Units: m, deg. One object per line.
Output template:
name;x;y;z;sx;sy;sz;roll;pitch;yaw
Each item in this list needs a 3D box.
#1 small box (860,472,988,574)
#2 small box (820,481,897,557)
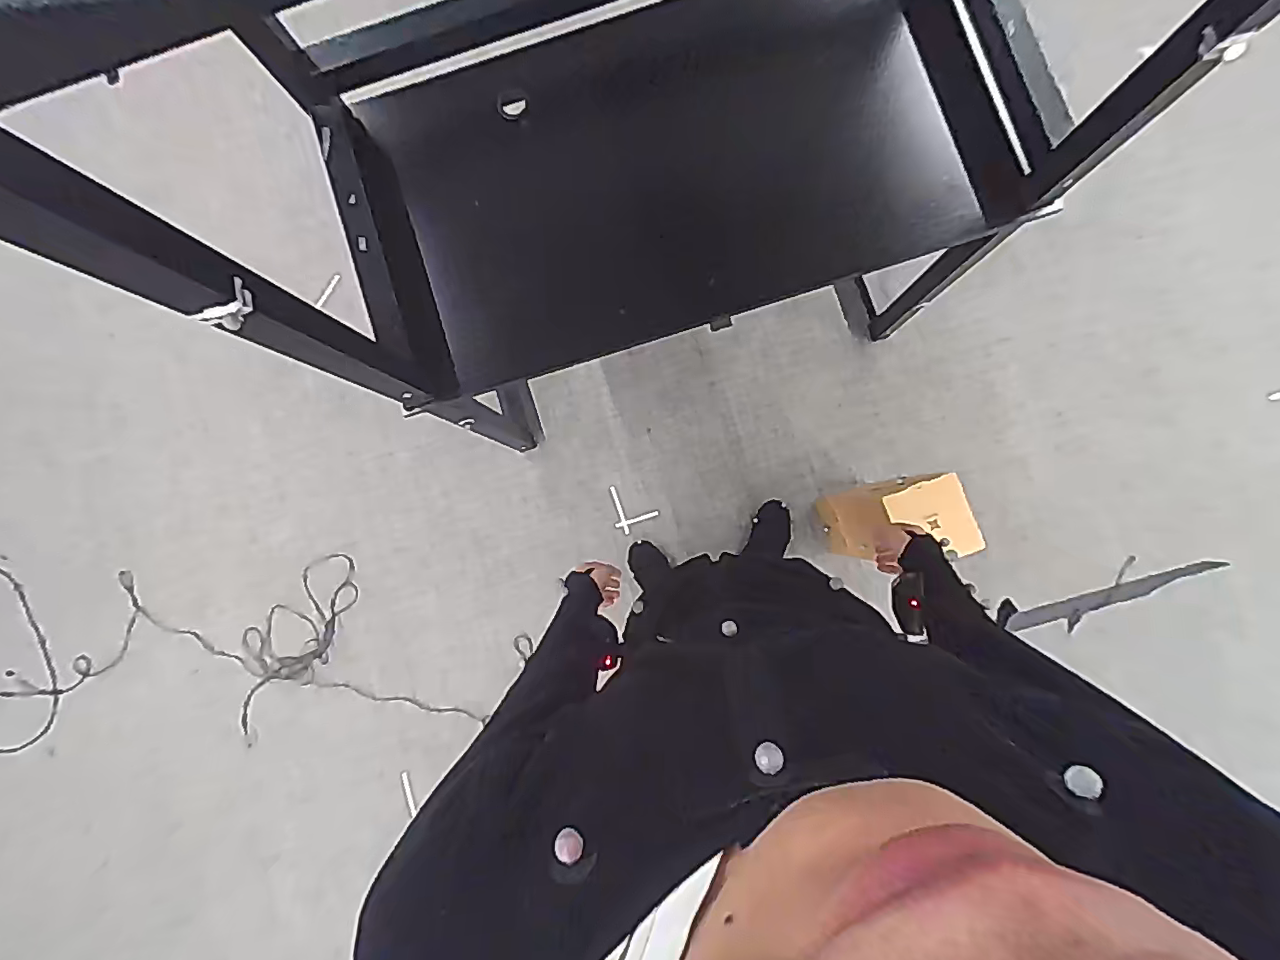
small box;0.623;0.093;1.208;0.168;0.176;0.179;-21;85;2
small box;0.638;0.109;1.534;0.179;0.176;0.168;-19;85;3
